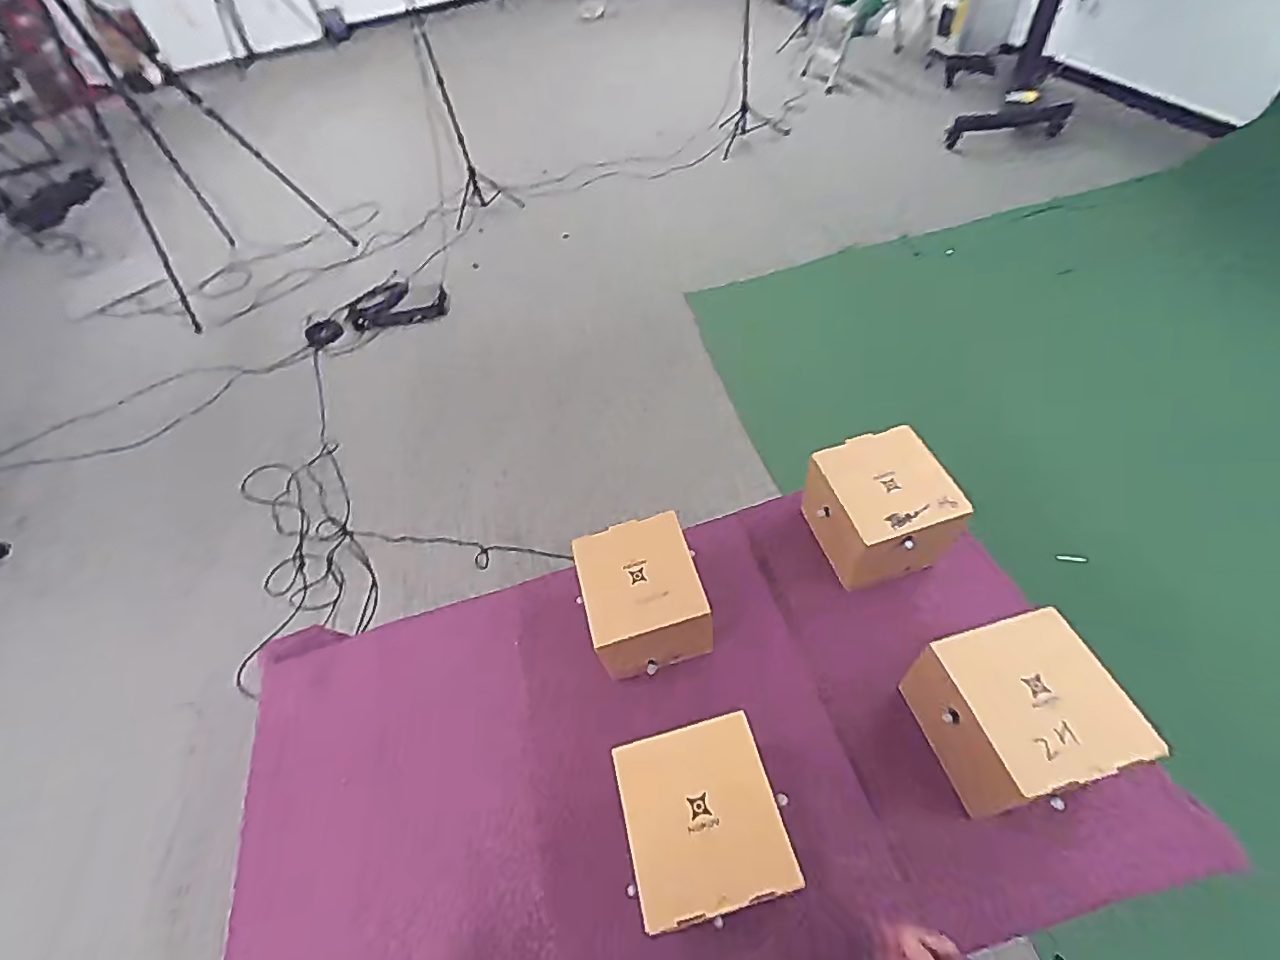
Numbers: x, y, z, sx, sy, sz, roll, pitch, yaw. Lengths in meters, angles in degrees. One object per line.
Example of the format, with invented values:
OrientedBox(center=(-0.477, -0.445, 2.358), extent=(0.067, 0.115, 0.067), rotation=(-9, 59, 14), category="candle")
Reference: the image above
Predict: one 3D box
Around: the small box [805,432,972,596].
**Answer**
OrientedBox(center=(0.380, 0.057, 0.870), extent=(0.168, 0.176, 0.179), rotation=(-17, 53, -2), category="small box")

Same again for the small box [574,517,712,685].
OrientedBox(center=(0.006, 0.189, 0.833), extent=(0.168, 0.176, 0.179), rotation=(-16, 54, -3), category="small box")

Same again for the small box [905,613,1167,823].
OrientedBox(center=(0.462, 0.297, 0.672), extent=(0.168, 0.176, 0.179), rotation=(-16, 51, -2), category="small box")

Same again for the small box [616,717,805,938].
OrientedBox(center=(0.076, 0.415, 0.647), extent=(0.168, 0.176, 0.179), rotation=(-15, 51, -3), category="small box")
